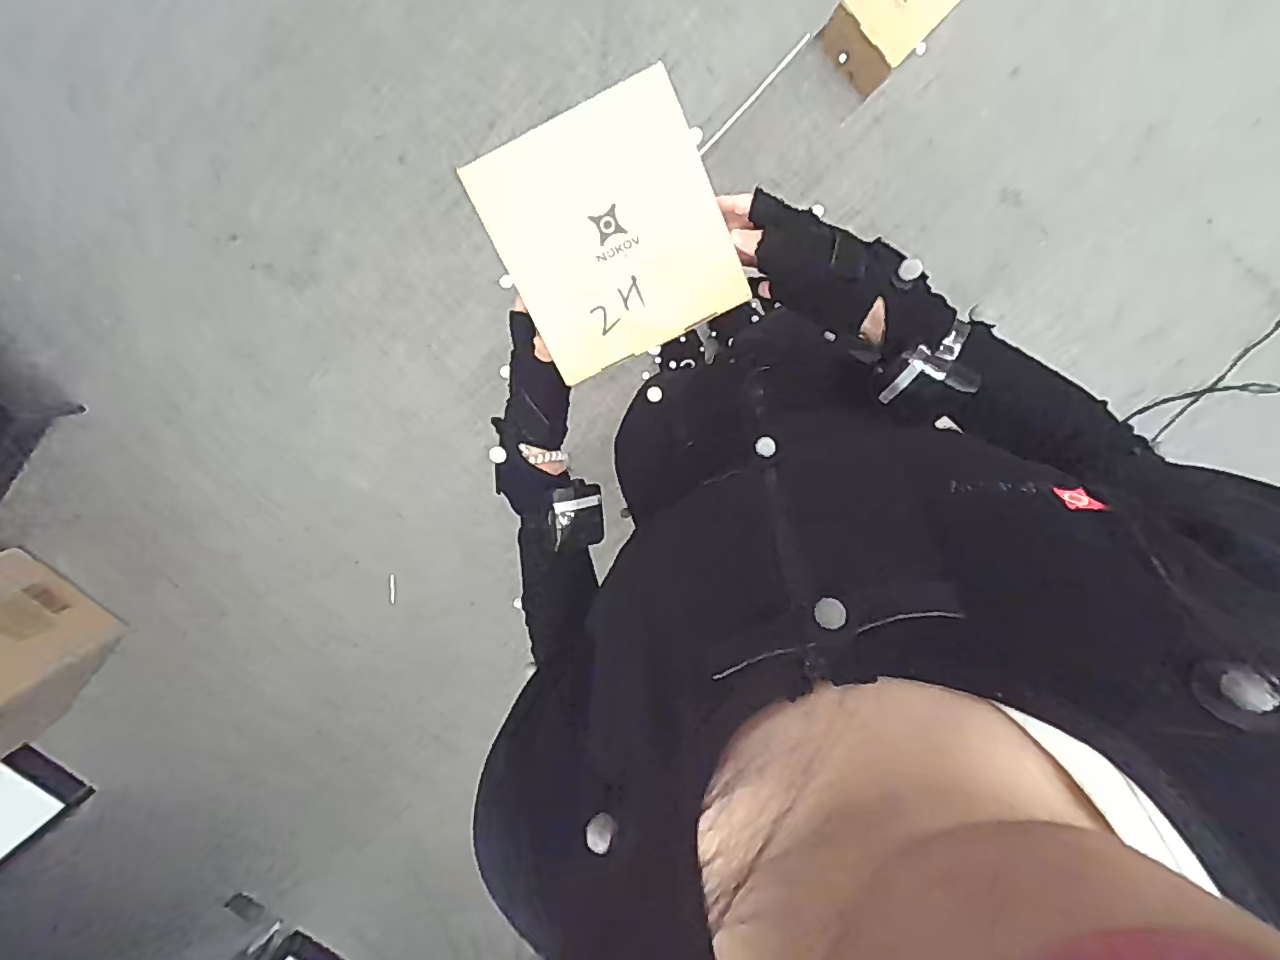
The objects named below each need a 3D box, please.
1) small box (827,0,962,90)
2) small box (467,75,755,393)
[{"bbox_3d":[0.511,-0.947,1.090,0.168,0.176,0.179,44,106,-11],"label":"small box"},{"bbox_3d":[-0.022,-0.198,0.479,0.168,0.176,0.179,-25,108,5],"label":"small box"}]
